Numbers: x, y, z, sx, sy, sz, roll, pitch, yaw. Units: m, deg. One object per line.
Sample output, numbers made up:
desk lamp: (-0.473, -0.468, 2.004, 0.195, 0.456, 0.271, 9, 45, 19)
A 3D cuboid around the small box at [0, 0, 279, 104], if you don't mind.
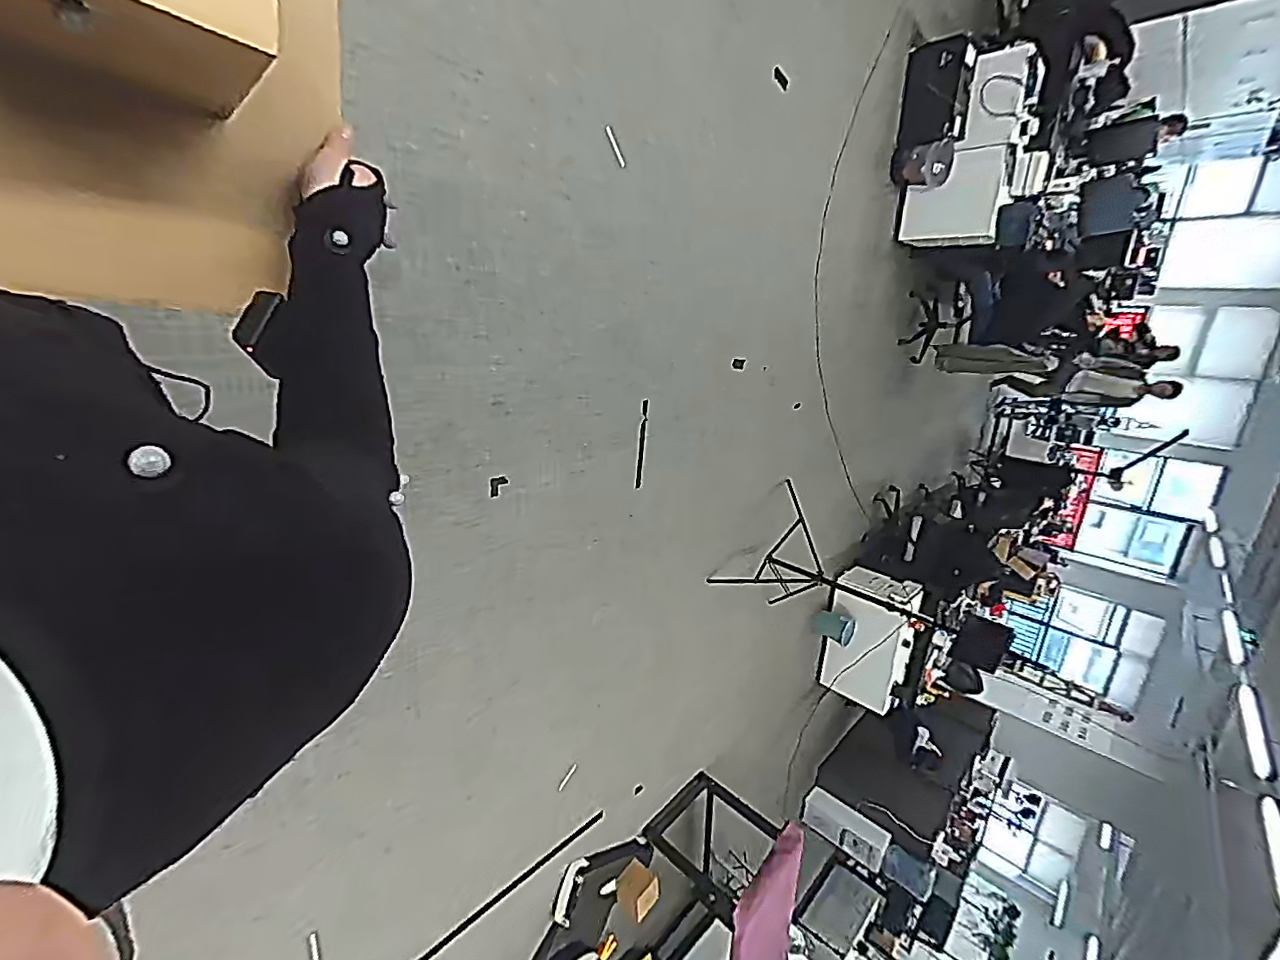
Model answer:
small box: (-0.352, -0.370, 0.341, 0.179, 0.176, 0.168, -6, 107, -44)
